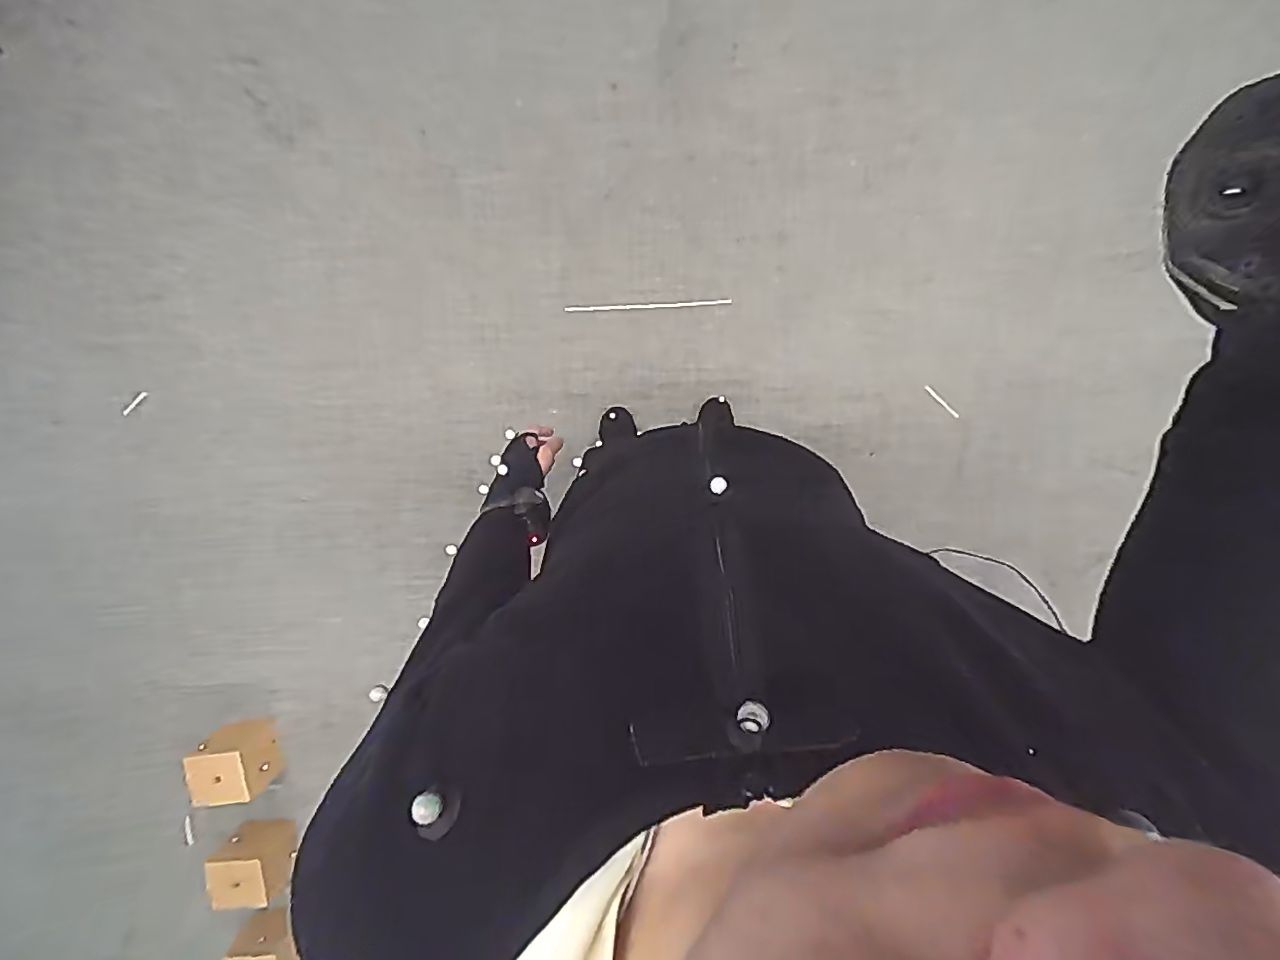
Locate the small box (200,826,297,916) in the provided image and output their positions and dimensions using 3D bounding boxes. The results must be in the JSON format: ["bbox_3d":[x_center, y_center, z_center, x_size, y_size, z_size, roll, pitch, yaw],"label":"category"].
[{"bbox_3d":[-1.230,1.230,1.707,0.179,0.176,0.168,-3,97,1],"label":"small box"}]

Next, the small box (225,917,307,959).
[{"bbox_3d":[-1.209,1.555,1.745,0.179,0.176,0.168,-3,96,1],"label":"small box"}]

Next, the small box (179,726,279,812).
[{"bbox_3d":[-1.252,0.883,1.666,0.179,0.176,0.168,-6,97,2],"label":"small box"}]
